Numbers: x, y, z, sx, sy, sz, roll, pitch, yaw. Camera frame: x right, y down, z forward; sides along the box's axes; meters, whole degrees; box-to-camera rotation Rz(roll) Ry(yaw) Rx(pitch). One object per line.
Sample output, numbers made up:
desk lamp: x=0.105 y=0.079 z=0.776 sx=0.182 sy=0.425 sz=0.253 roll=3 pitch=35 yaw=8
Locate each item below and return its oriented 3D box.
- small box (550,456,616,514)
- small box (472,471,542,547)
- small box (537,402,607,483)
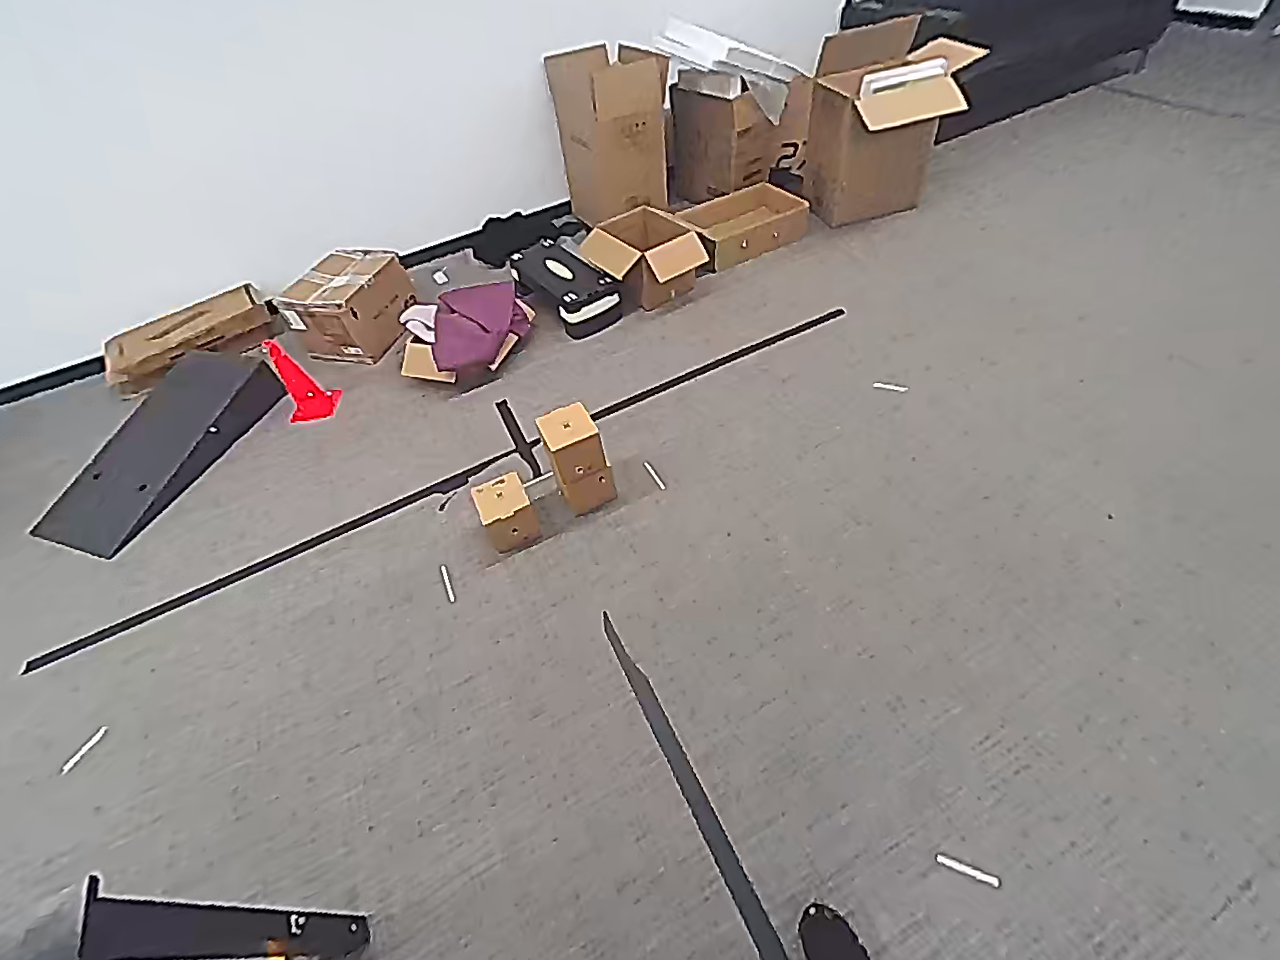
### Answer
small box: x=-0.197 y=-0.011 z=1.916 sx=0.179 sy=0.176 sz=0.168 roll=-26 pitch=51 yaw=-14
small box: x=-0.450 y=0.108 z=1.851 sx=0.168 sy=0.176 sz=0.179 roll=-23 pitch=51 yaw=-11
small box: x=-0.224 y=-0.123 z=1.800 sx=0.168 sy=0.176 sz=0.179 roll=-24 pitch=52 yaw=-12
